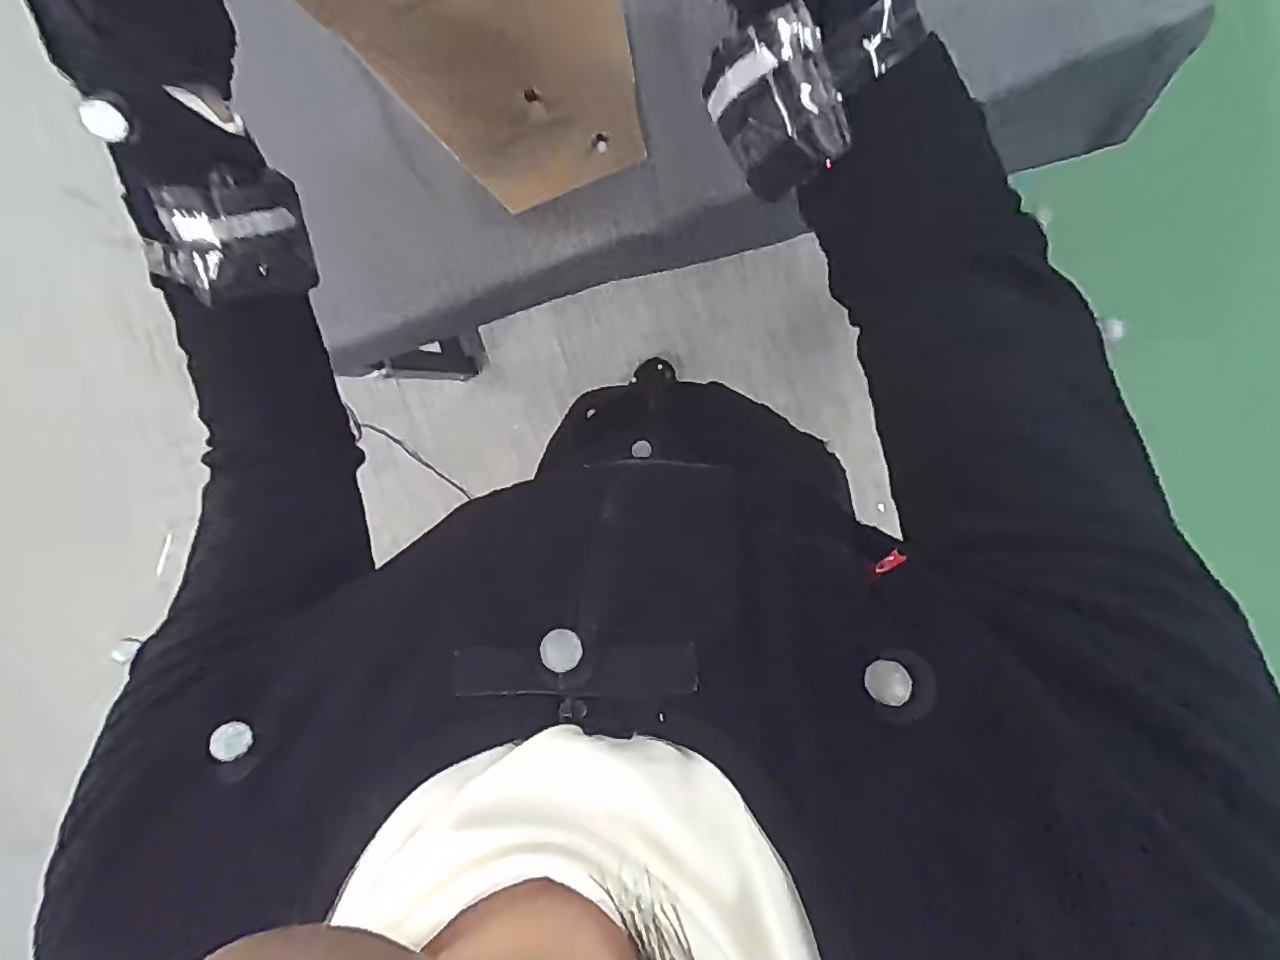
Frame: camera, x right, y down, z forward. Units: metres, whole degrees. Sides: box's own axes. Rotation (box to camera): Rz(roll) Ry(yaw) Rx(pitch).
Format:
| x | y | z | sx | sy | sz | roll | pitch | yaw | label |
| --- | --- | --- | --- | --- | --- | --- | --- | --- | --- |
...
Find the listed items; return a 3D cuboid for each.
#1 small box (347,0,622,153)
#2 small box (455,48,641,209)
| x | y | z | sx | sy | sz | roll | pitch | yaw | label |
| --- | --- | --- | --- | --- | --- | --- | --- | --- | --- |
| -0.118 | -0.384 | 0.398 | 0.179 | 0.176 | 0.168 | -18 | 96 | 8 | small box |
| -0.105 | -0.414 | 0.559 | 0.179 | 0.176 | 0.168 | -18 | 96 | 10 | small box |
